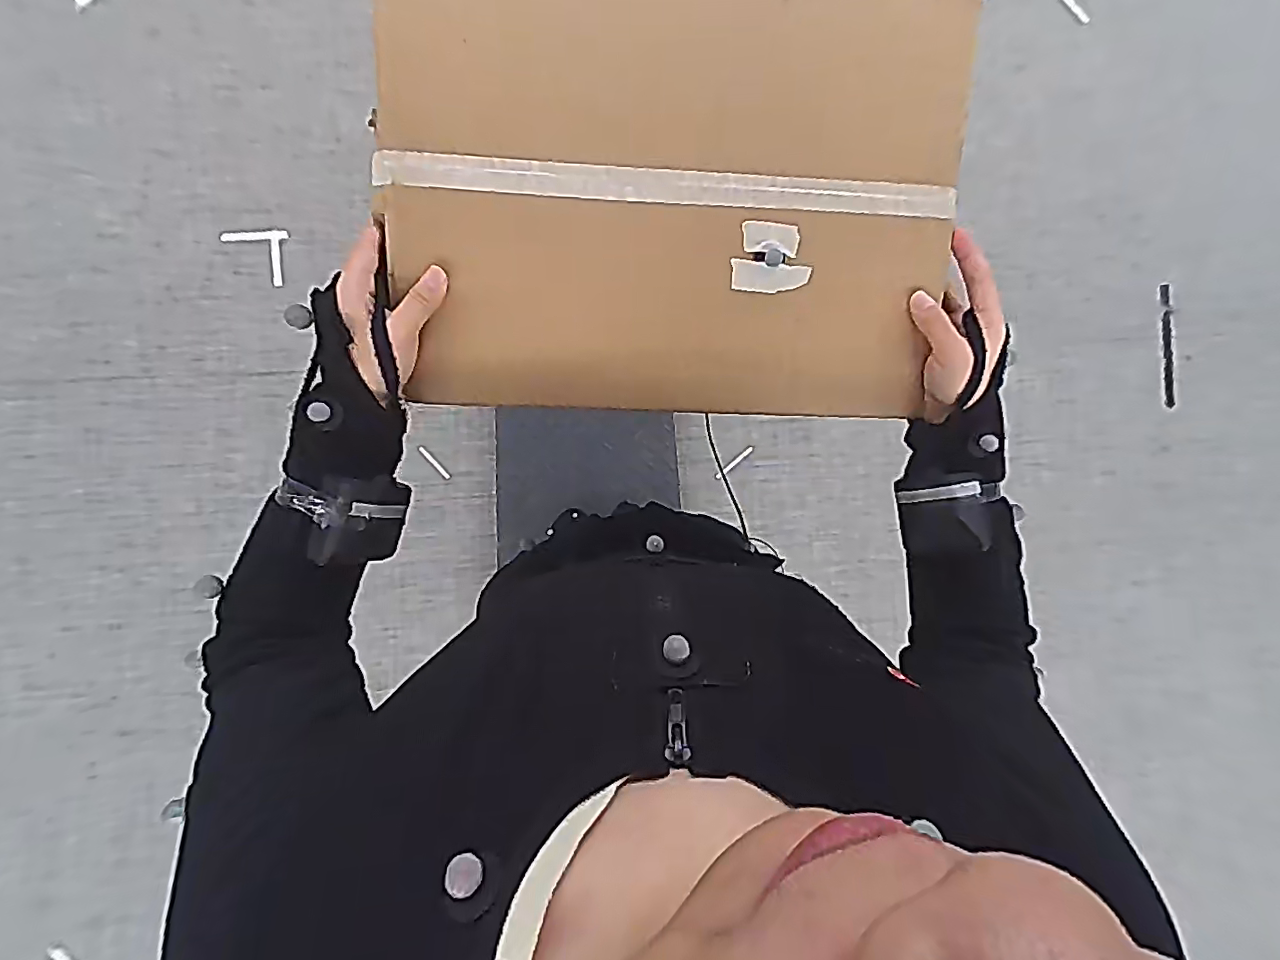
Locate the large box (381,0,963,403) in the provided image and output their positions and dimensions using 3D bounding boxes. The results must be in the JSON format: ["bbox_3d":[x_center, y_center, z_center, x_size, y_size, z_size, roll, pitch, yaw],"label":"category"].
[{"bbox_3d":[0.012,-0.243,0.531,0.408,0.320,0.320,1,103,-6],"label":"large box"}]
